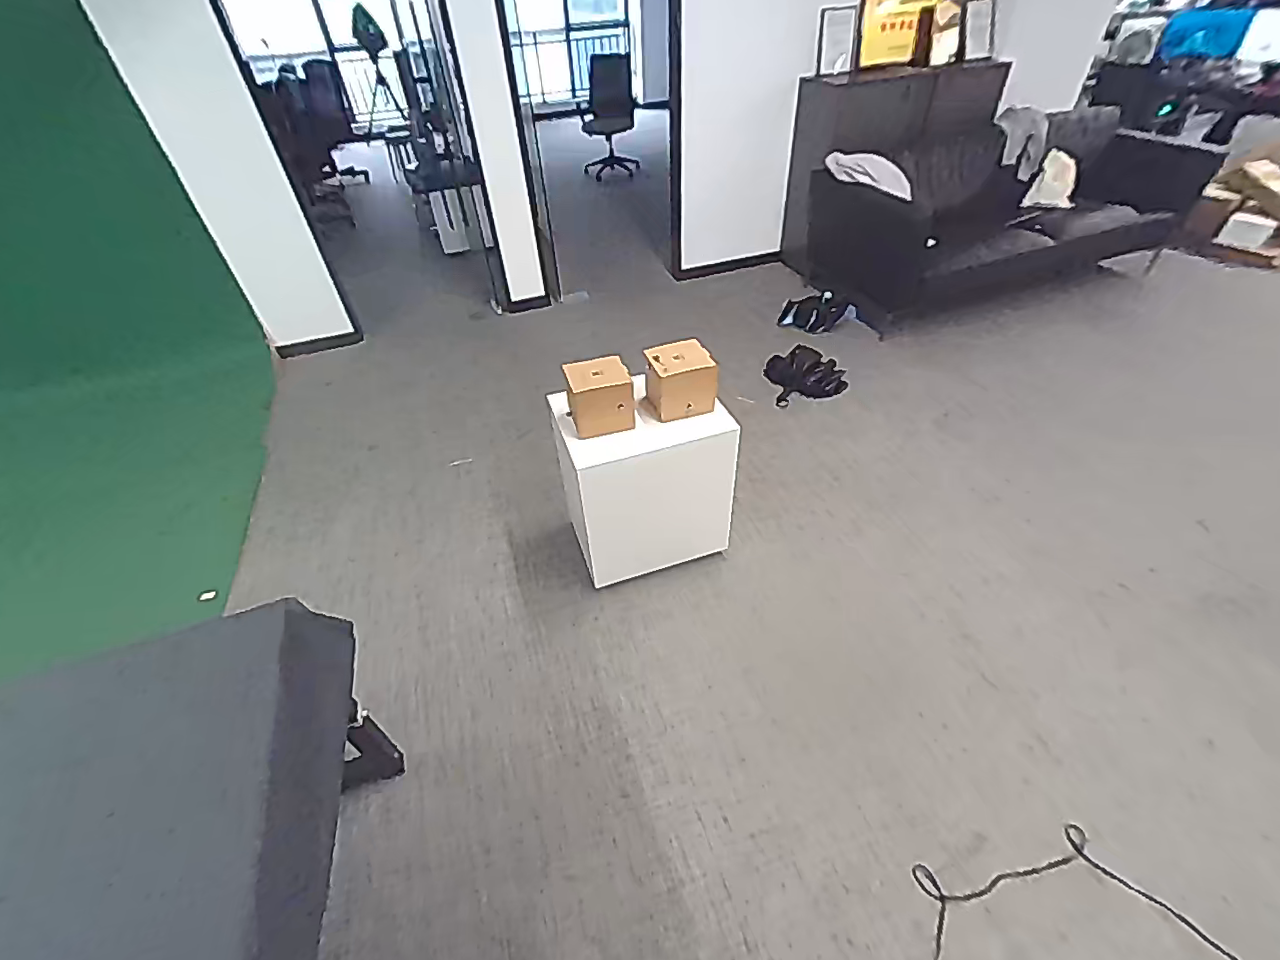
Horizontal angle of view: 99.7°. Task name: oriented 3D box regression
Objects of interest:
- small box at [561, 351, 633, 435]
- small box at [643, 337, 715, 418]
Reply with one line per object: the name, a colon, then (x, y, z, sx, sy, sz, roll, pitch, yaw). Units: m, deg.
small box: (-0.126, -0.257, 1.600, 0.179, 0.176, 0.168, -14, 43, -12)
small box: (0.113, -0.310, 1.647, 0.179, 0.176, 0.168, -13, 44, -12)
